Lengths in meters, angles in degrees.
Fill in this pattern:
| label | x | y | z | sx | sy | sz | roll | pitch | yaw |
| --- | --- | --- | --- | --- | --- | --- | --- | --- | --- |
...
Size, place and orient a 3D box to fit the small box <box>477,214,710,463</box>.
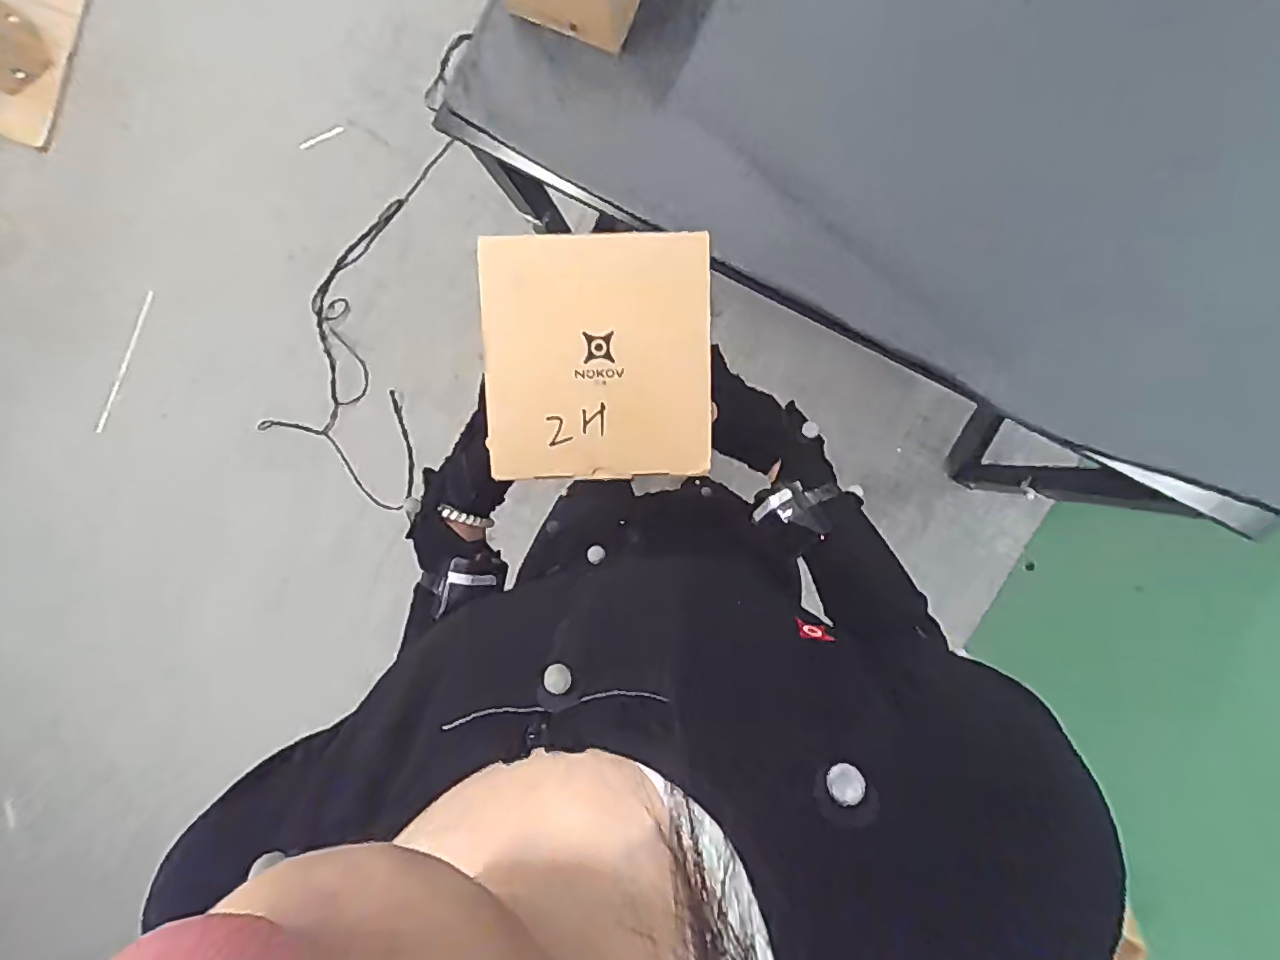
| label | x | y | z | sx | sy | sz | roll | pitch | yaw |
| --- | --- | --- | --- | --- | --- | --- | --- | --- | --- |
| small box | -0.035 | -0.109 | 0.466 | 0.168 | 0.176 | 0.179 | -1 | 98 | -1 |
